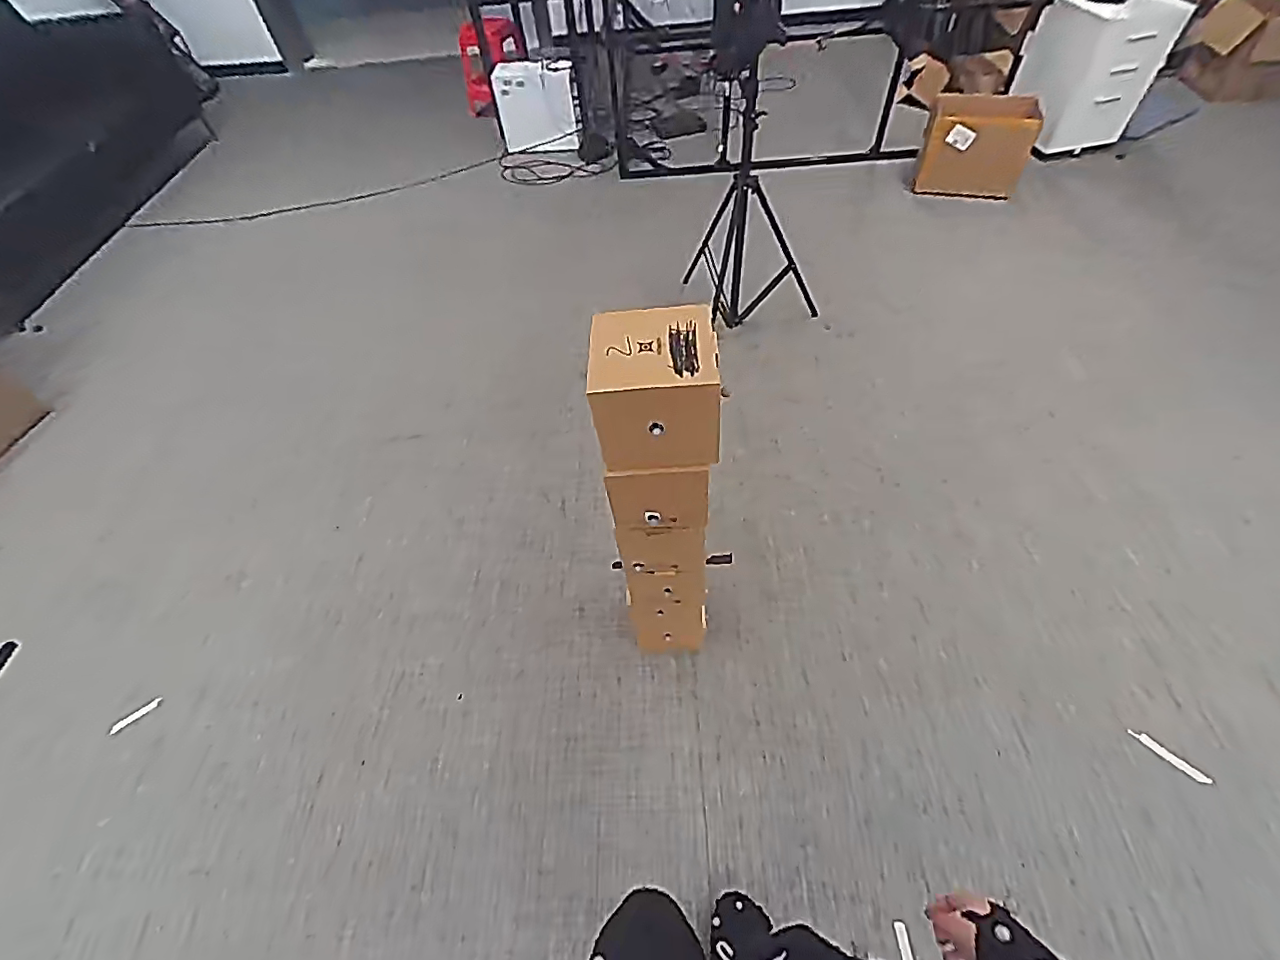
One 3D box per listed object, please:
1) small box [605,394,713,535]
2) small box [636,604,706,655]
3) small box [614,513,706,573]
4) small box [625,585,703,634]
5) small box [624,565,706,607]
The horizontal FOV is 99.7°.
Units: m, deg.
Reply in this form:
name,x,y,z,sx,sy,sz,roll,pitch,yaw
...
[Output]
name,x,y,z,sx,sy,sz,roll,pitch,yaw
small box,0.034,-0.024,0.929,0.168,0.176,0.179,-4,55,4
small box,0.083,0.364,1.453,0.179,0.176,0.168,-3,54,4
small box,0.044,0.072,1.059,0.168,0.176,0.179,-2,53,5
small box,0.064,0.270,1.319,0.179,0.176,0.168,-1,55,5
small box,0.060,0.171,1.189,0.168,0.176,0.179,-1,55,5
